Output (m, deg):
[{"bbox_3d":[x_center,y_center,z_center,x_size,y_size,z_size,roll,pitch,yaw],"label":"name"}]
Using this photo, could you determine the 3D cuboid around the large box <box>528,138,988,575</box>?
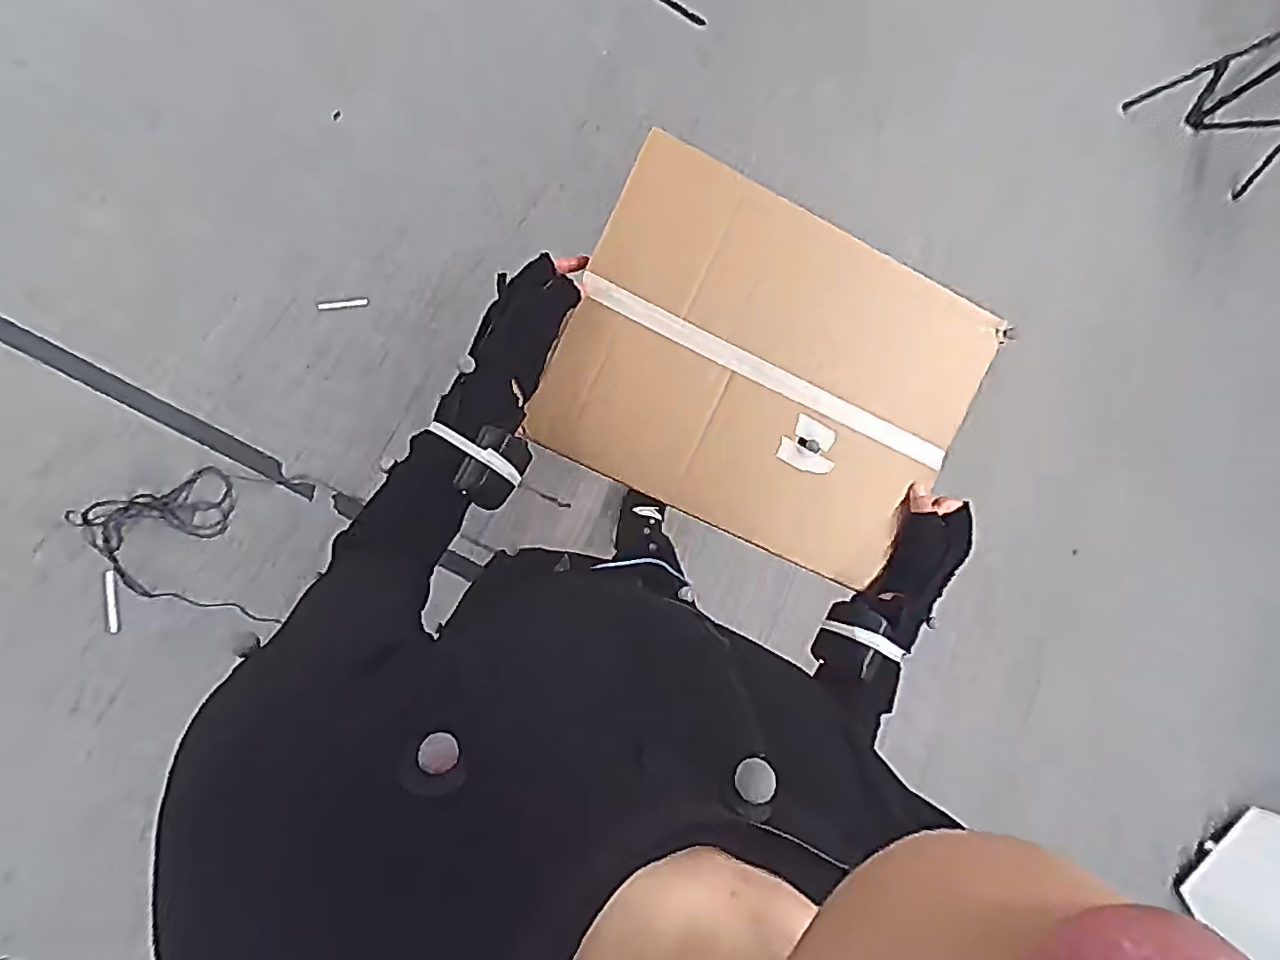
[{"bbox_3d":[0.111,-0.127,0.695,0.408,0.320,0.320,25,93,-8],"label":"large box"}]
